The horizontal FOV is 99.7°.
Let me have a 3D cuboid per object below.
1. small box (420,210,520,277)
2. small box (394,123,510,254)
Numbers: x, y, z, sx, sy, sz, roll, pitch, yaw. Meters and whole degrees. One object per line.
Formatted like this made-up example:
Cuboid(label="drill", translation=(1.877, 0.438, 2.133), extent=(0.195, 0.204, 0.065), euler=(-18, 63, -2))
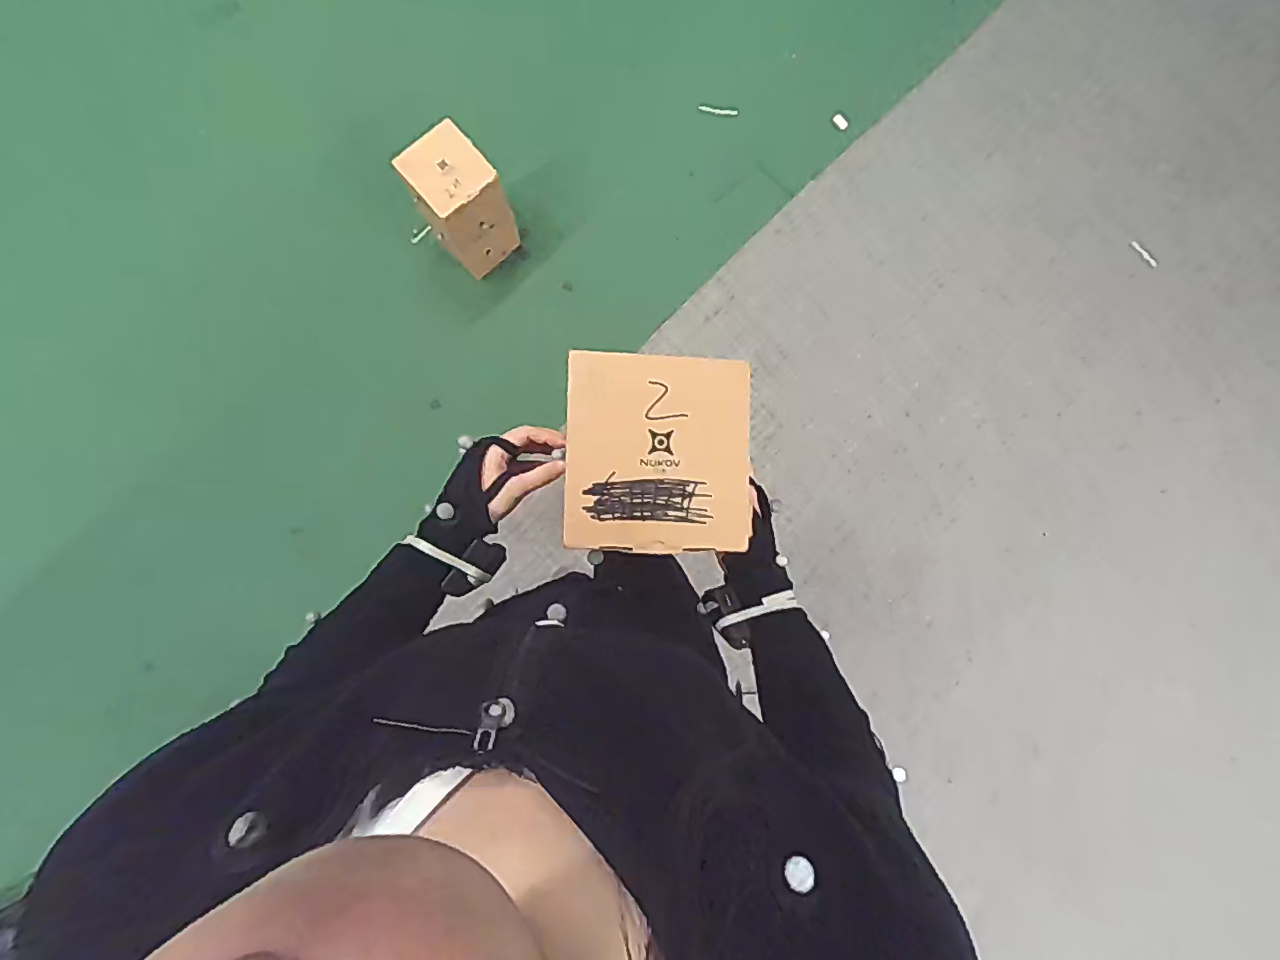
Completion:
Cuboid(label="small box", translation=(-0.443, -0.671, 1.444), extent=(0.168, 0.176, 0.179), euler=(-44, 90, -5))
Cuboid(label="small box", translation=(-0.435, -0.679, 1.279), extent=(0.168, 0.176, 0.179), euler=(-41, 90, -5))
